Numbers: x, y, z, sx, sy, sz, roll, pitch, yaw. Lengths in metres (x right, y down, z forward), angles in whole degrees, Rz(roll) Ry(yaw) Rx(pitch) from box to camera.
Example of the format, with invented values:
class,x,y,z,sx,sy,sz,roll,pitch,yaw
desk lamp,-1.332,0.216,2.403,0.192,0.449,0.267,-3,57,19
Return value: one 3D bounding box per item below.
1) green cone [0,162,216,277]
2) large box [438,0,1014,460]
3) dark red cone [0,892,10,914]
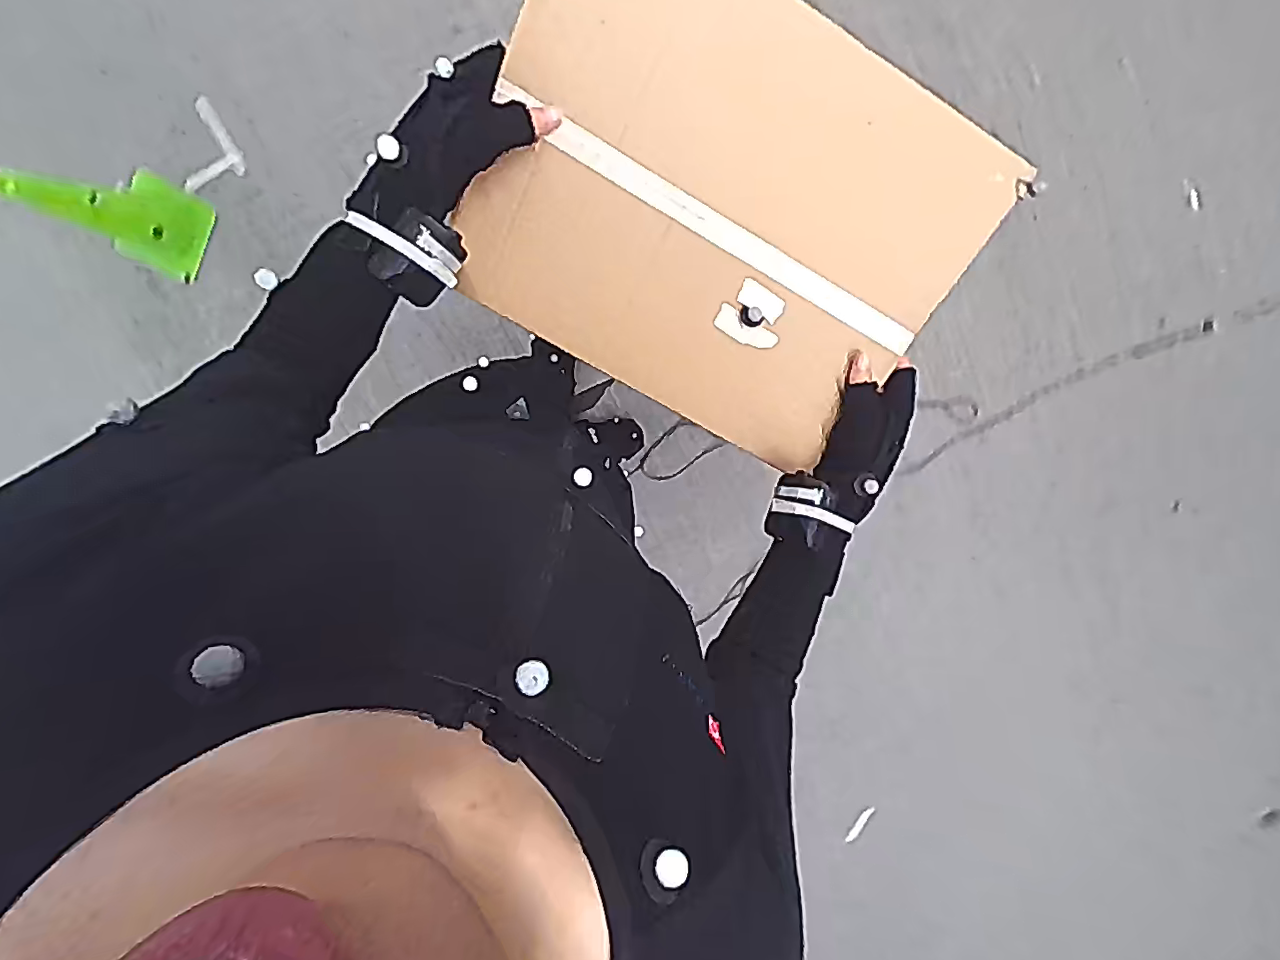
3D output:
class,x,y,z,sx,sy,sz,roll,pitch,yaw
green cone,-1.152,-0.592,1.149,0.202,0.368,0.200,28,100,-5
large box,0.063,-0.284,0.597,0.408,0.320,0.320,27,113,-9
dark red cone,-2.129,1.348,1.560,0.202,0.394,0.201,-18,102,3
